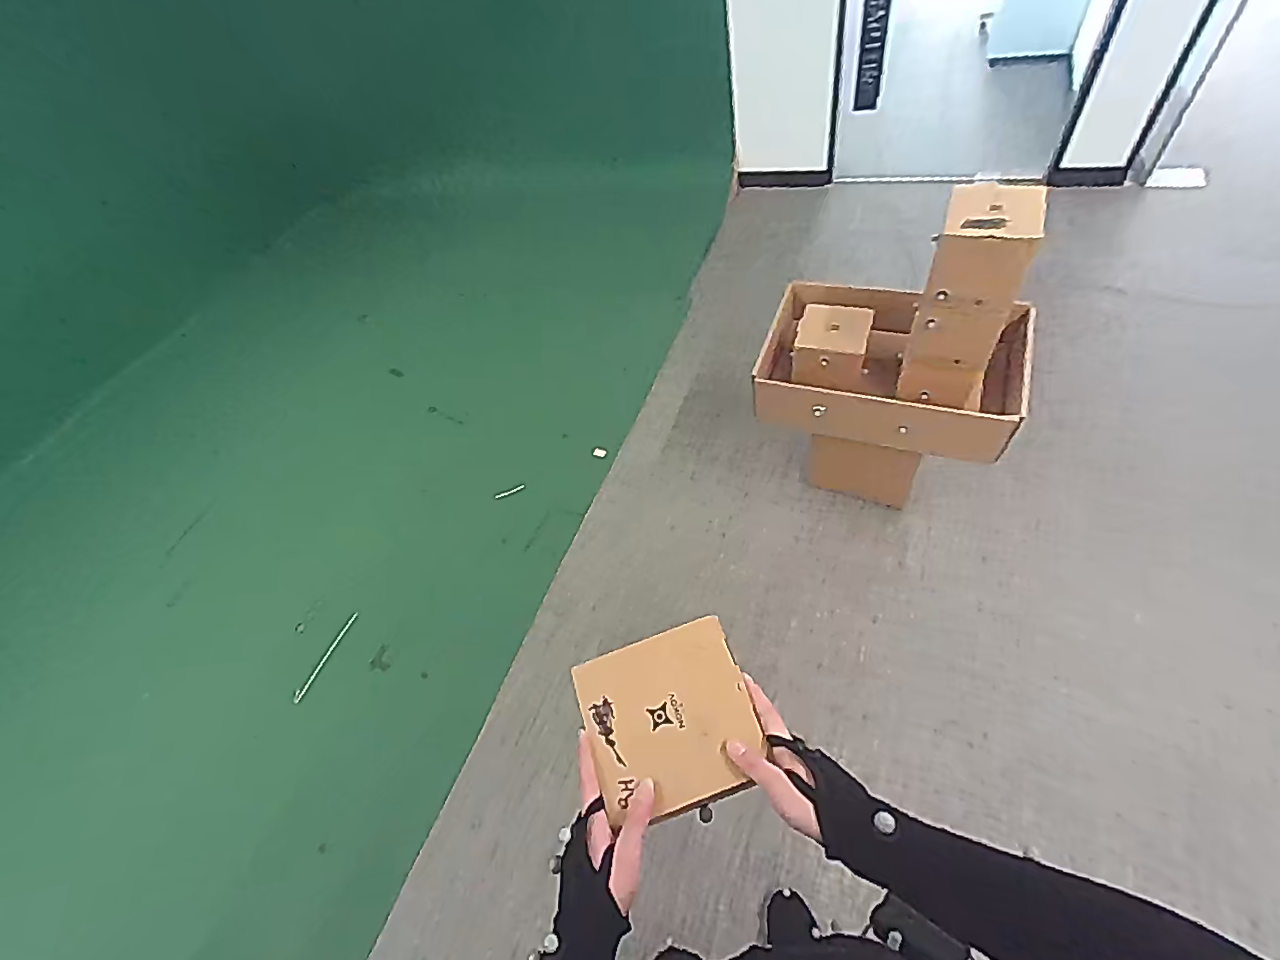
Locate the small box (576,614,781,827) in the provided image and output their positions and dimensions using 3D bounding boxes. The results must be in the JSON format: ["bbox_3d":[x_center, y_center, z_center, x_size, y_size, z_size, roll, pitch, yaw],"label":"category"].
[{"bbox_3d":[0.042,0.280,0.627,0.179,0.176,0.168,-19,57,-3],"label":"small box"}]

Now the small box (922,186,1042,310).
[{"bbox_3d":[0.691,-0.471,1.106,0.168,0.176,0.179,14,60,21],"label":"small box"}]

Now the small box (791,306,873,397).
[{"bbox_3d":[0.515,-0.345,1.469,0.179,0.176,0.168,14,61,20],"label":"small box"}]
